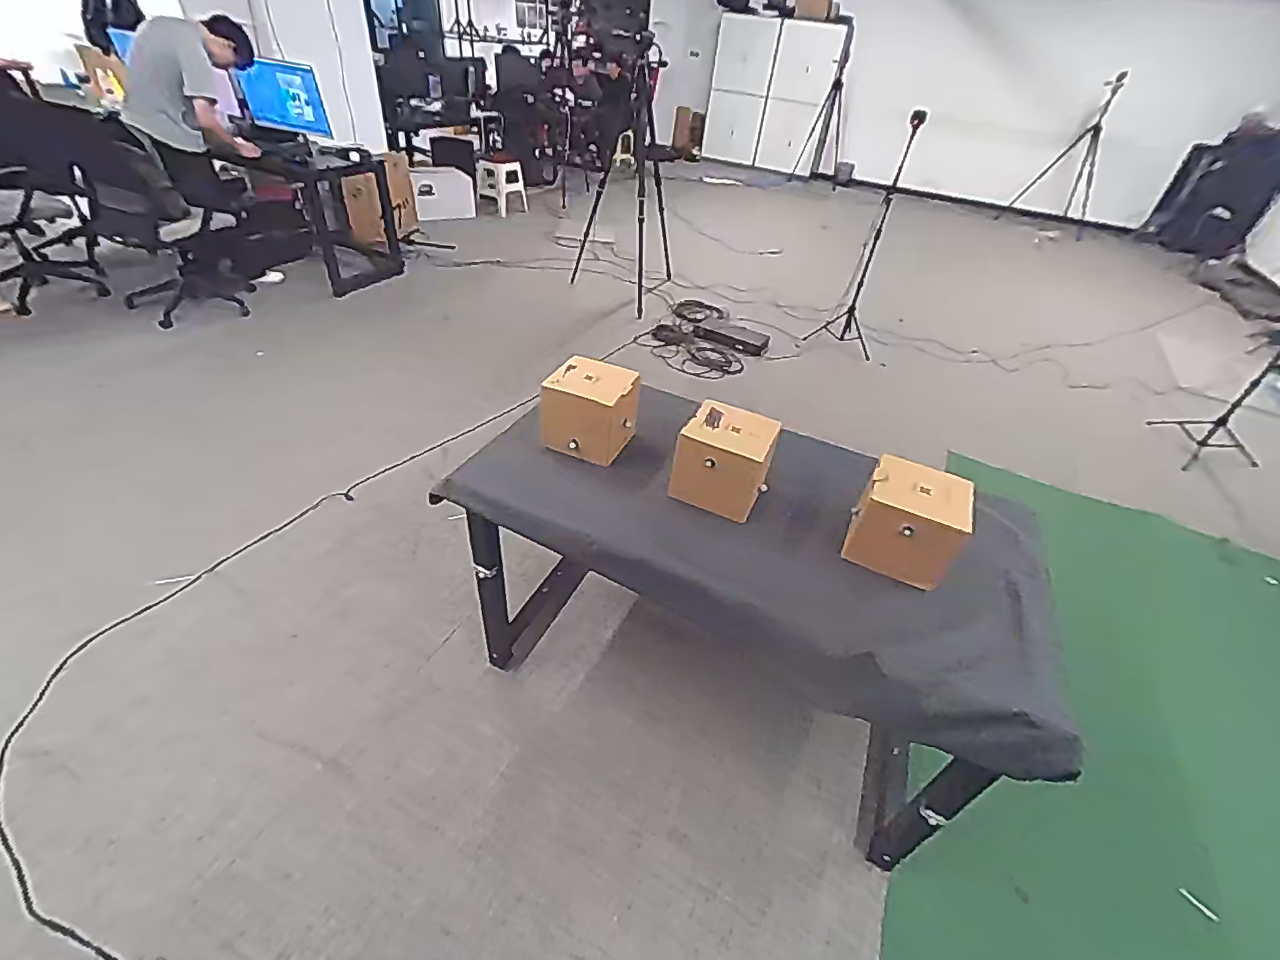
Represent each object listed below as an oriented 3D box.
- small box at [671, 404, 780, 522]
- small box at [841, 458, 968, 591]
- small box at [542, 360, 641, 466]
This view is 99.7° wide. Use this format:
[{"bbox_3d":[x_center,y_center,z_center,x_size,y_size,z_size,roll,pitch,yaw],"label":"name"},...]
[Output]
[{"bbox_3d":[0.181,-0.036,1.171,0.179,0.176,0.168,21,41,16],"label":"small box"},{"bbox_3d":[0.519,0.090,1.072,0.179,0.176,0.168,22,42,17],"label":"small box"},{"bbox_3d":[-0.115,-0.155,1.272,0.179,0.176,0.168,19,40,13],"label":"small box"}]
